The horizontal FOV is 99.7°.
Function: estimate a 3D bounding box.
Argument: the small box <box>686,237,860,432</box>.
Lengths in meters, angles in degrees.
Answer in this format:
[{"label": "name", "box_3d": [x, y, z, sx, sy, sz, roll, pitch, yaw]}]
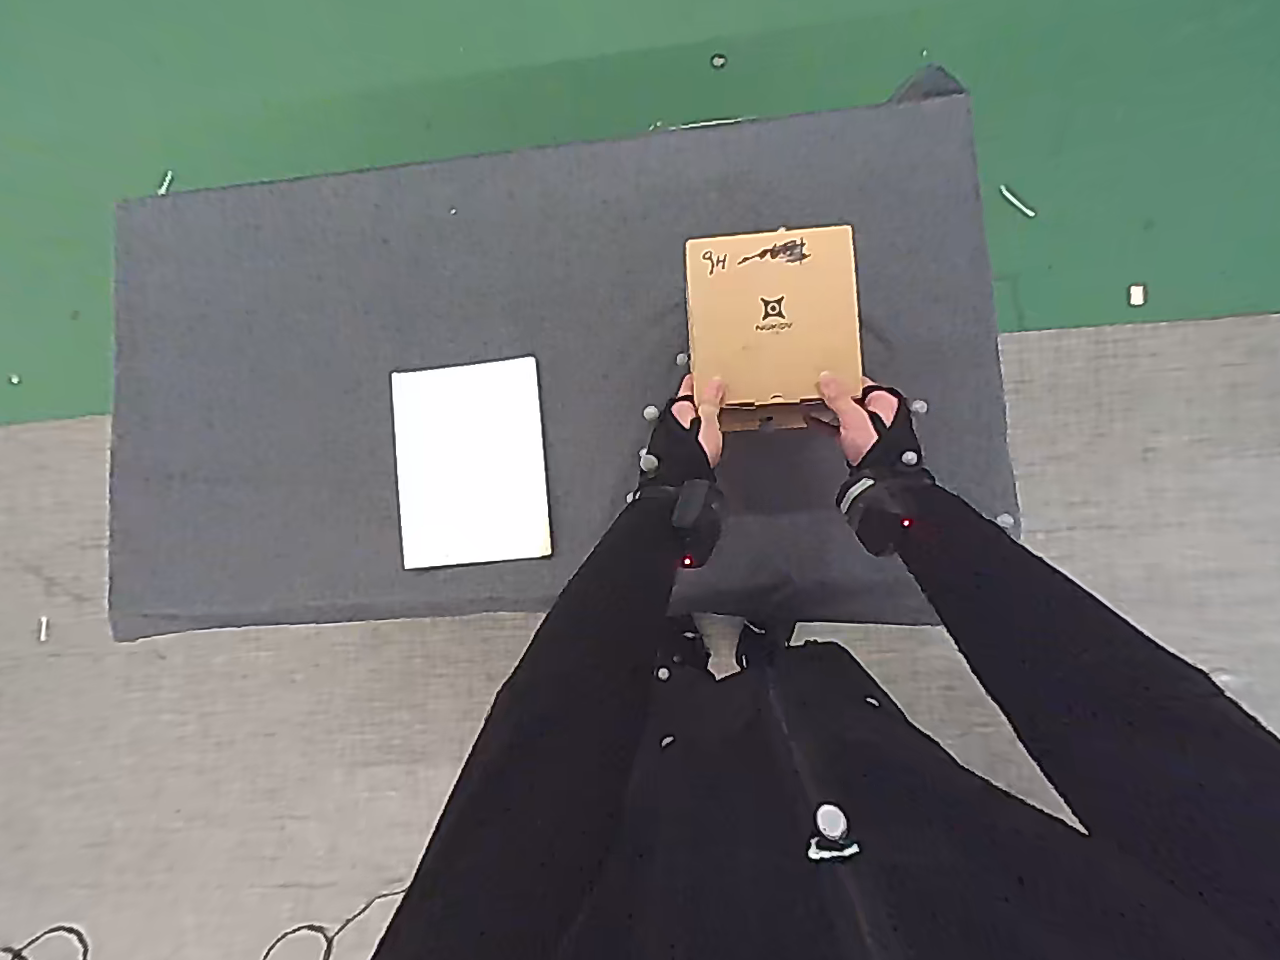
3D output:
[{"label": "small box", "box_3d": [0.141, -0.149, 0.618, 0.168, 0.176, 0.179, -3, 88, 5]}]
